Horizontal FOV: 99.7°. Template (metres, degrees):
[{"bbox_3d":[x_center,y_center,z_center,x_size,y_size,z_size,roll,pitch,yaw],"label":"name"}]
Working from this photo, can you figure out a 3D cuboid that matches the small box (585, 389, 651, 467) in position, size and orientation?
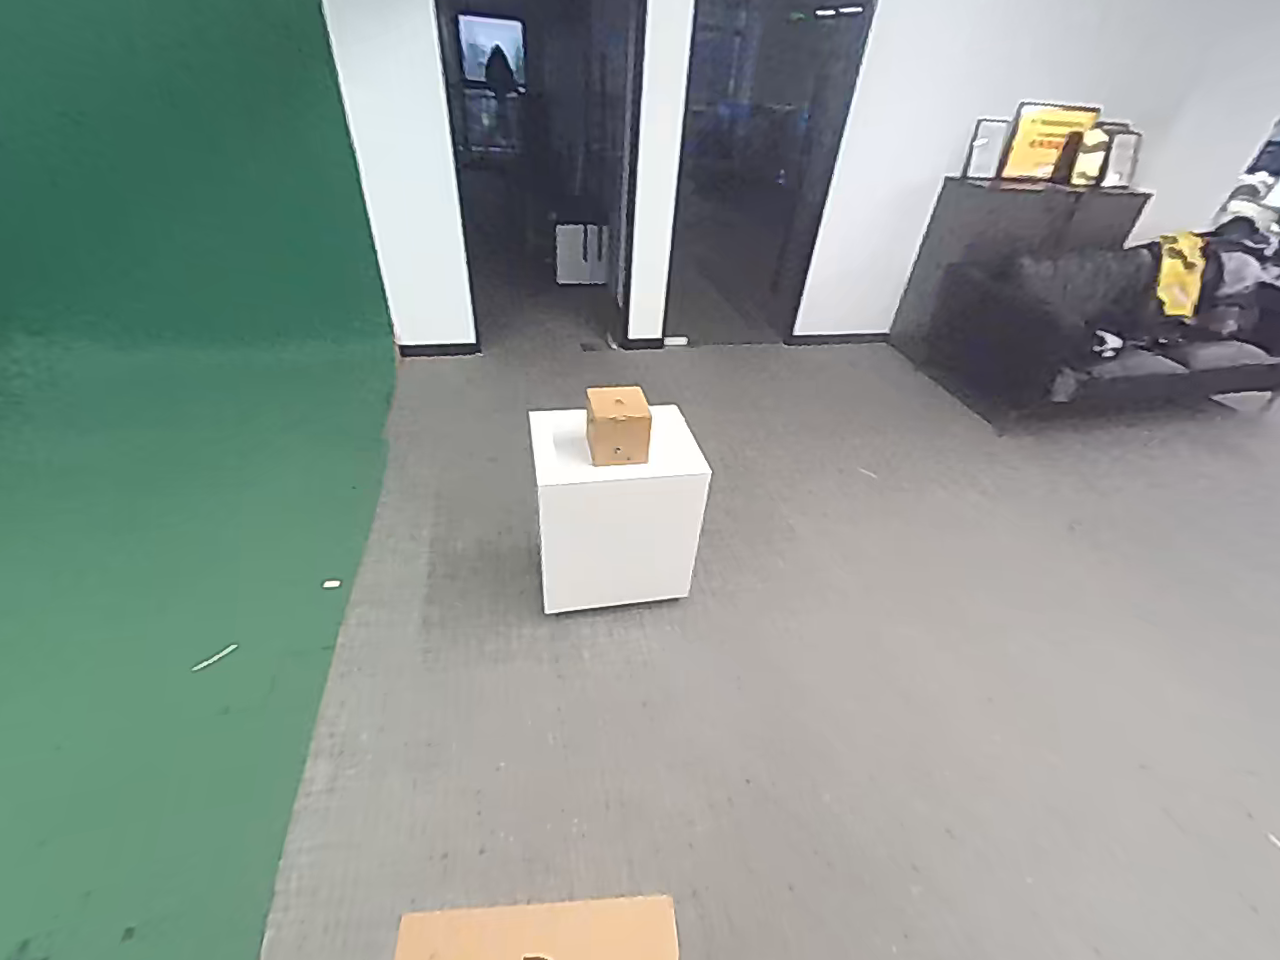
[{"bbox_3d":[-0.072,-0.154,1.597,0.168,0.176,0.179,-4,37,-13],"label":"small box"}]
